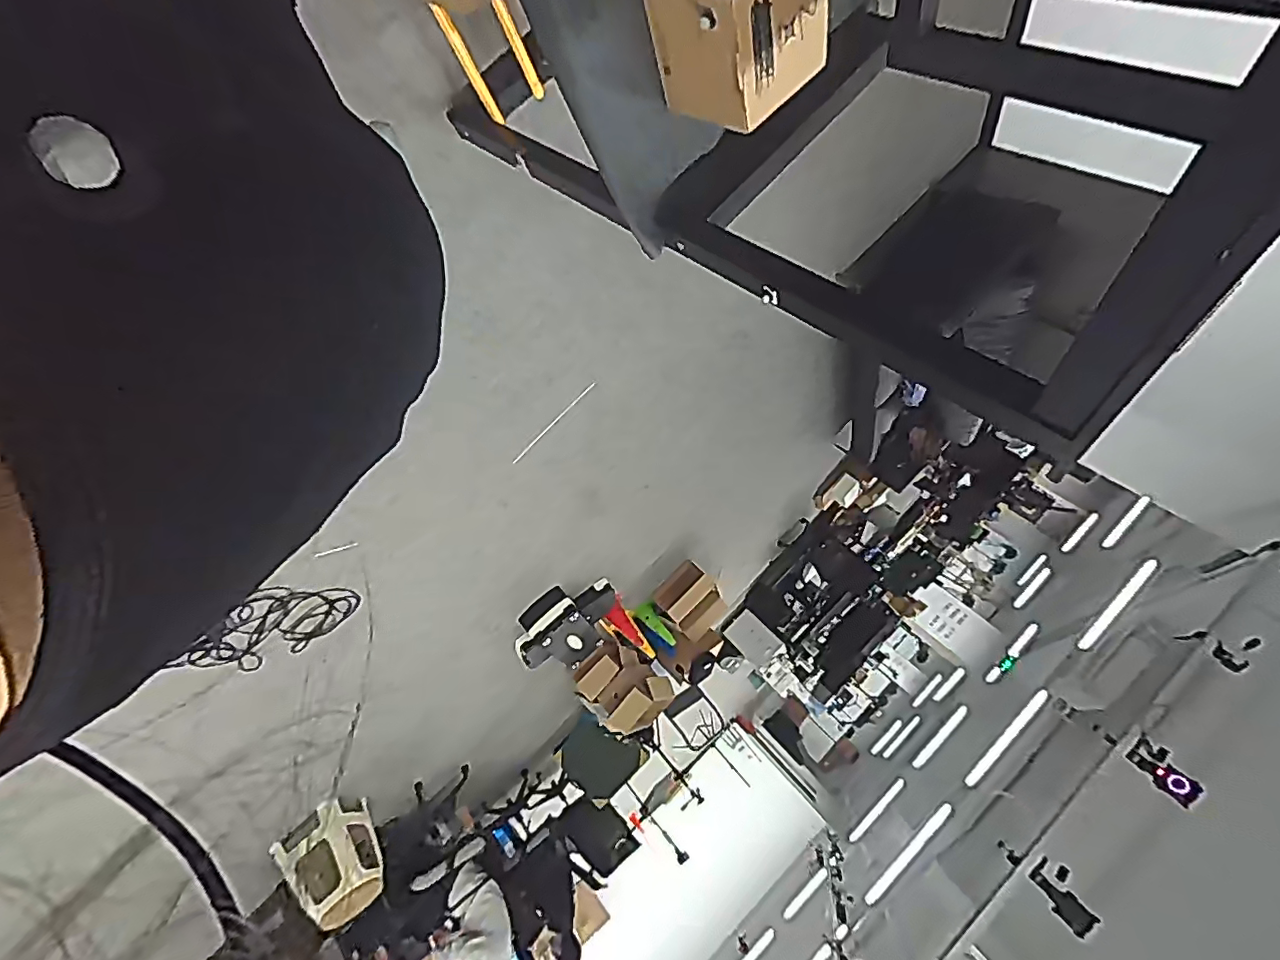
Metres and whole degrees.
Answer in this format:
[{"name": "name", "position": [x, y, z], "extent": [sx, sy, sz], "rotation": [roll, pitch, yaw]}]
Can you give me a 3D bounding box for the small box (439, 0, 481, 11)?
[{"name": "small box", "position": [-0.332, -0.995, 0.971], "extent": [0.179, 0.176, 0.168], "rotation": [-43, 151, -8]}]
